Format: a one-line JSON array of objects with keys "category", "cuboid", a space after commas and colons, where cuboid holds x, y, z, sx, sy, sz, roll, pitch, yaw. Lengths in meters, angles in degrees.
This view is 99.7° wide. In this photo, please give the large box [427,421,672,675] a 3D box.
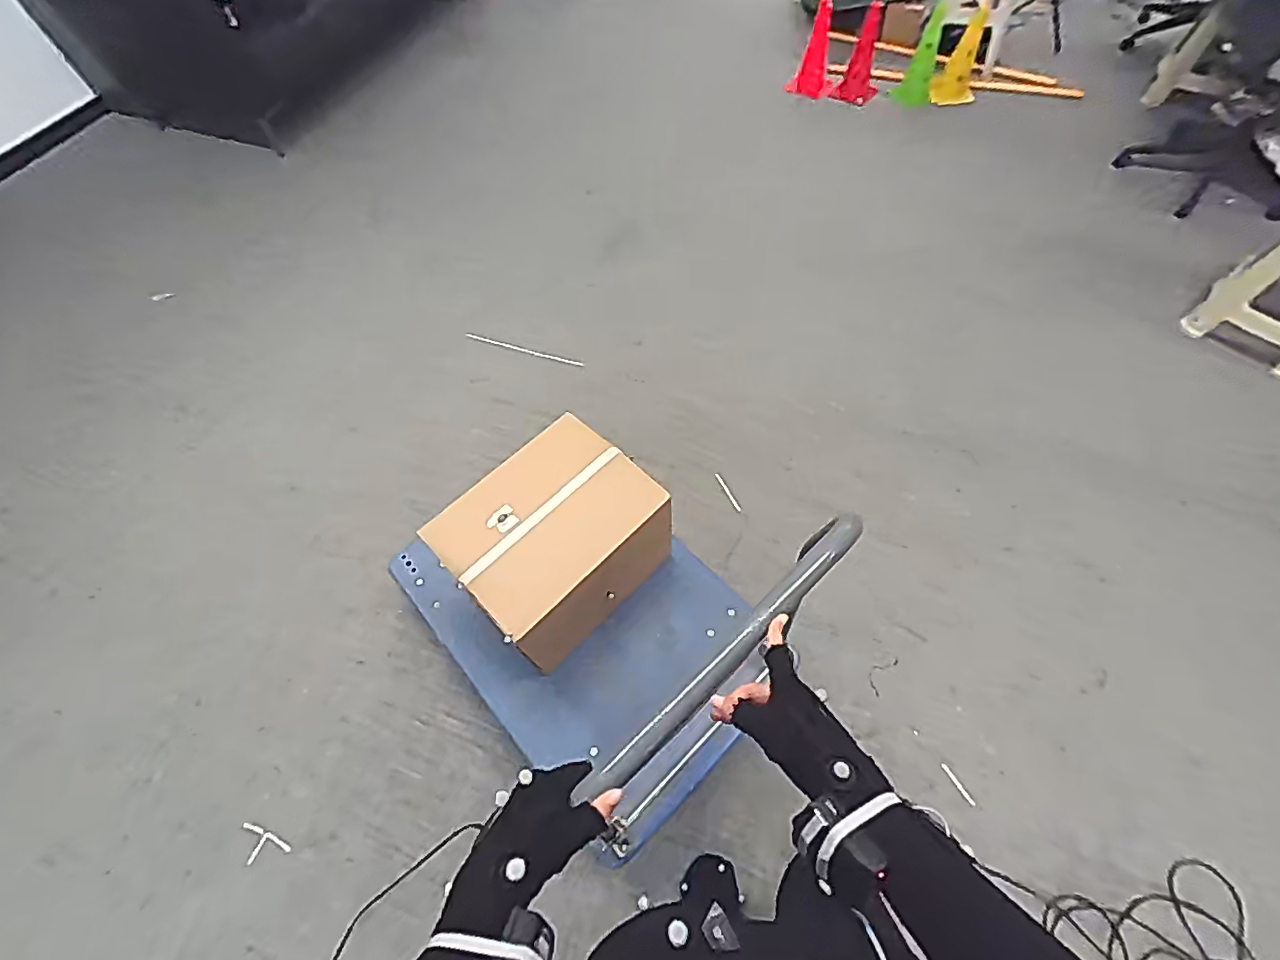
[{"category": "large box", "cuboid": [-0.170, 0.155, 1.201, 0.320, 0.320, 0.408, 38, 69, 23]}]
